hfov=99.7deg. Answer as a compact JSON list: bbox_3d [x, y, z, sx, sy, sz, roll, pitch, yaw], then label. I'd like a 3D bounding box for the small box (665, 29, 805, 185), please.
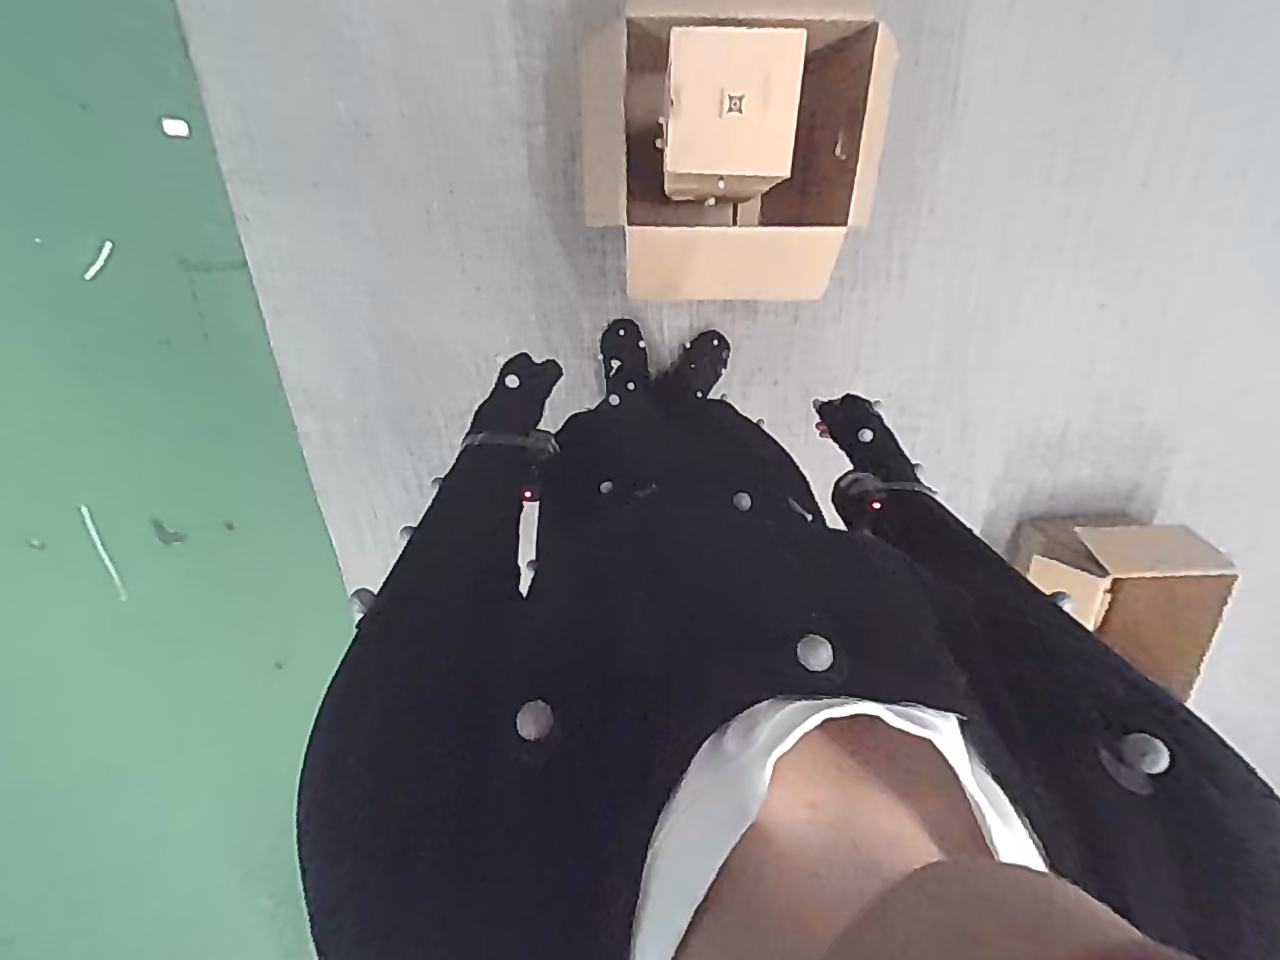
[{"bbox_3d":[0.128,-0.536,0.799,0.179,0.176,0.168,1,115,2],"label":"small box"}]
